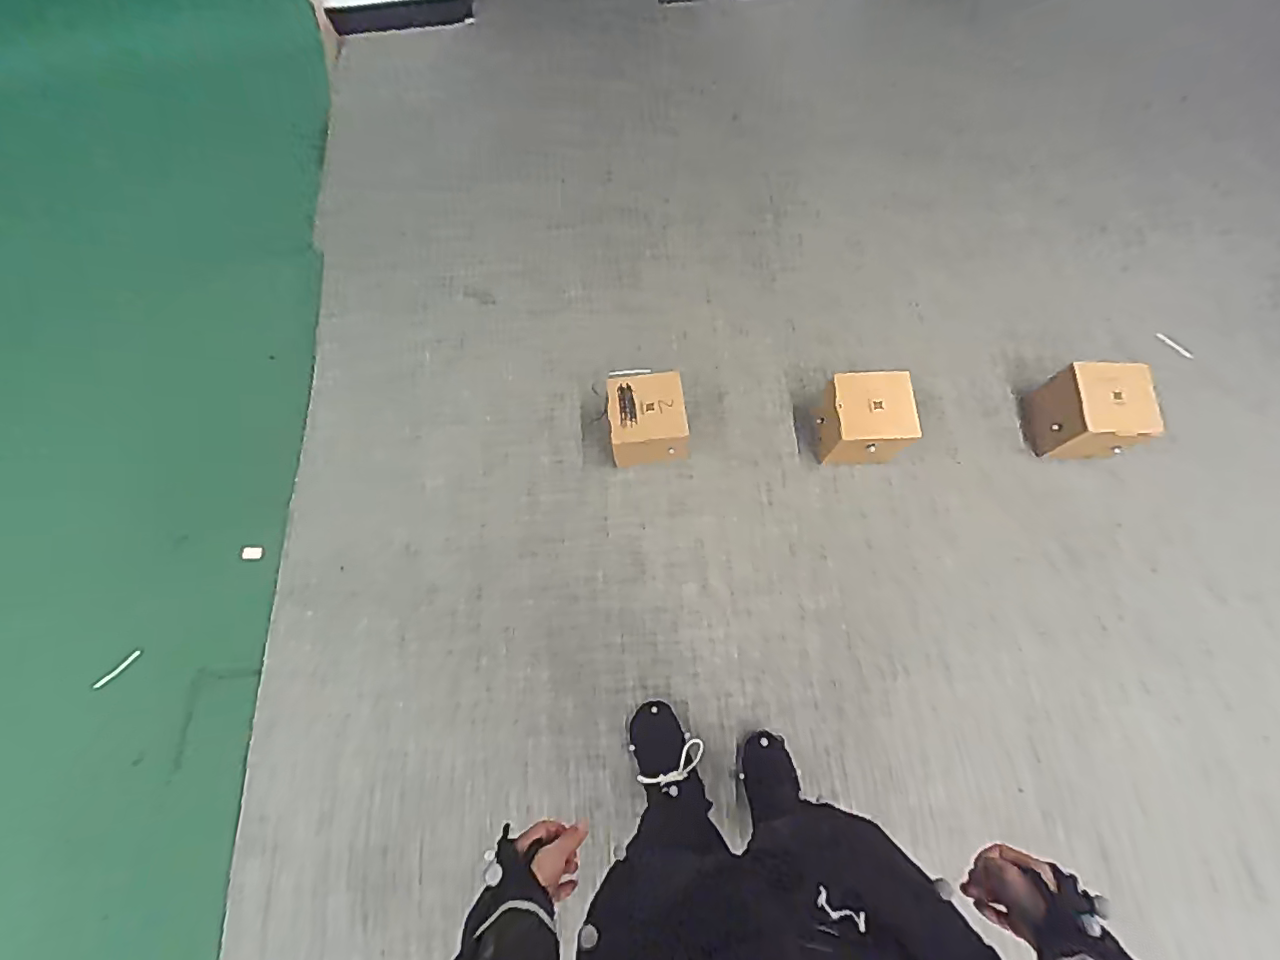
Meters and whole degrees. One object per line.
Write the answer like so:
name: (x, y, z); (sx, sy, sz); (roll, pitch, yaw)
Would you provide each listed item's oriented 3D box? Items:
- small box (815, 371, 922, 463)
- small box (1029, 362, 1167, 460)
small box: (0.531, -0.144, 1.279); (0.179, 0.176, 0.168); (-2, 72, 2)
small box: (1.054, -0.155, 1.262); (0.168, 0.176, 0.179); (2, 71, 2)
